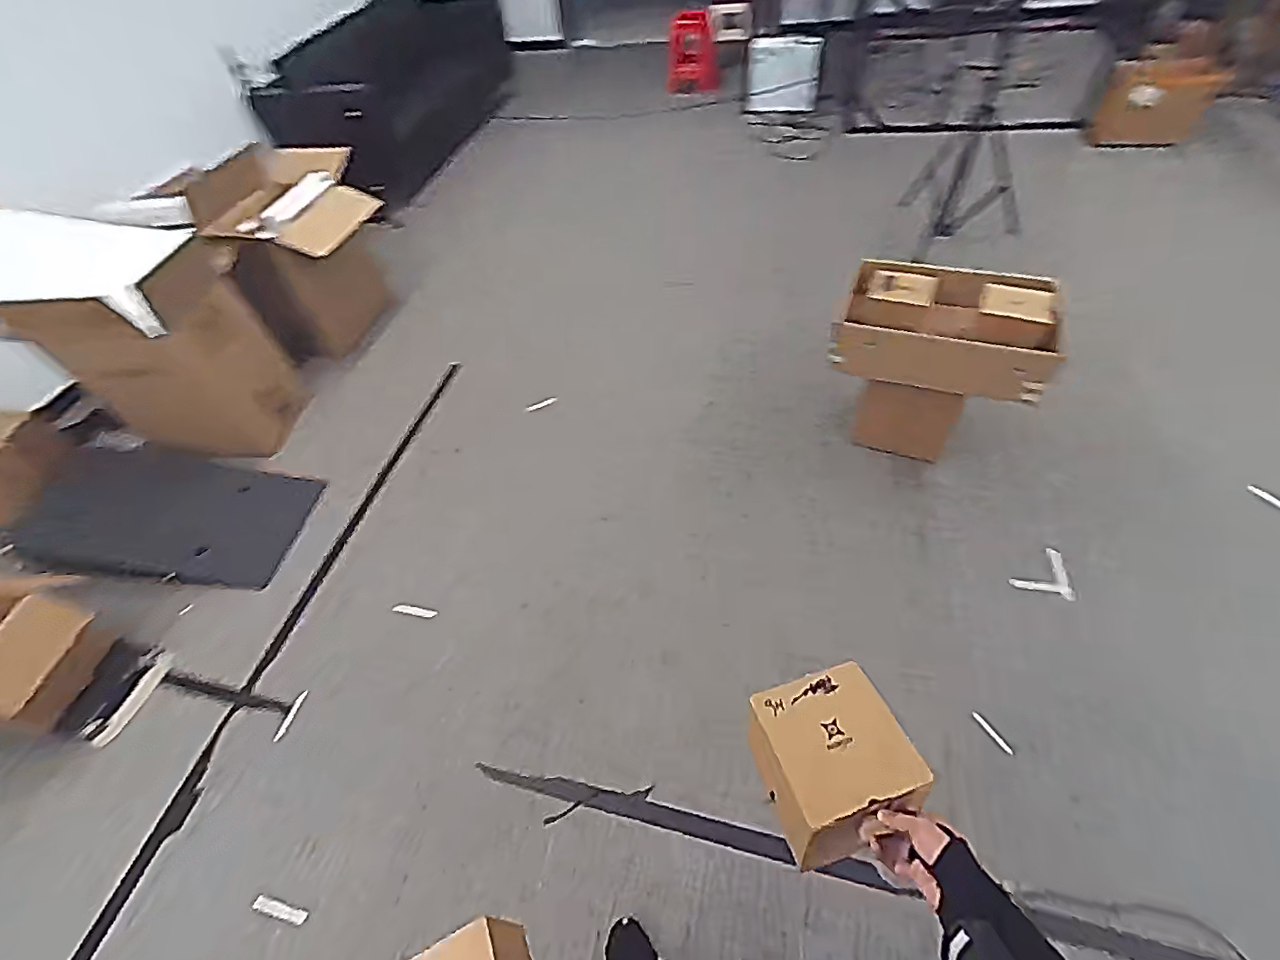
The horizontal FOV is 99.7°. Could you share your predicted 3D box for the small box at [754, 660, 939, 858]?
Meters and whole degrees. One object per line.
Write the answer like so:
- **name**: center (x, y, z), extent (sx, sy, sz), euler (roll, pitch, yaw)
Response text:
- **small box**: center (0.265, 0.385, 0.739), extent (0.168, 0.176, 0.179), euler (-14, 40, -6)
